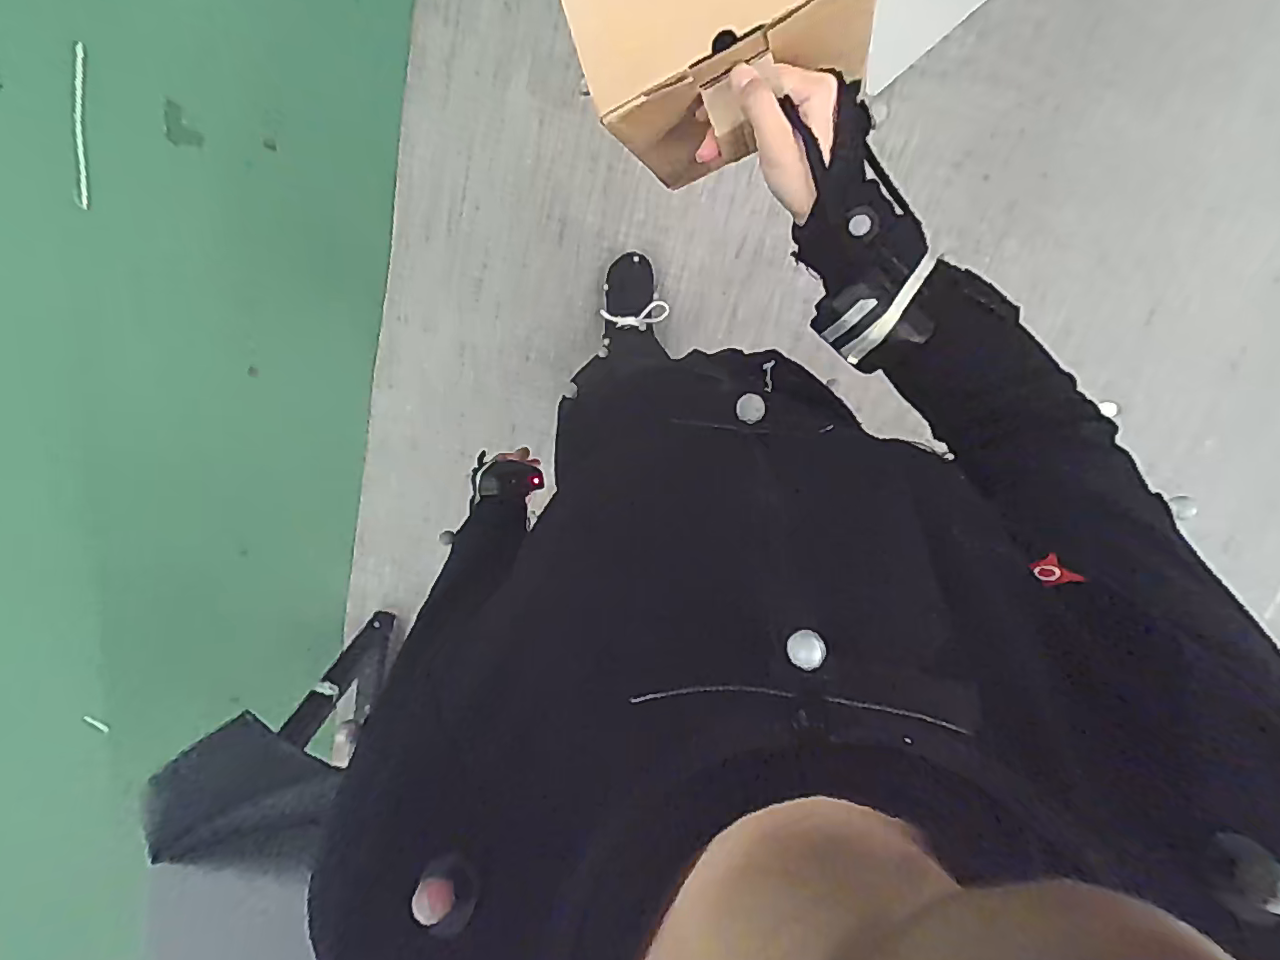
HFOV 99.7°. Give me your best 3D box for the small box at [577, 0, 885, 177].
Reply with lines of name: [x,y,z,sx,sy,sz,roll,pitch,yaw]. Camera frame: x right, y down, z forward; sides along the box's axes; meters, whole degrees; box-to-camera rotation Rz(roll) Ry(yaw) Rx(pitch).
small box: [0.052,-0.342,0.360,0.168,0.176,0.179,-15,98,21]
